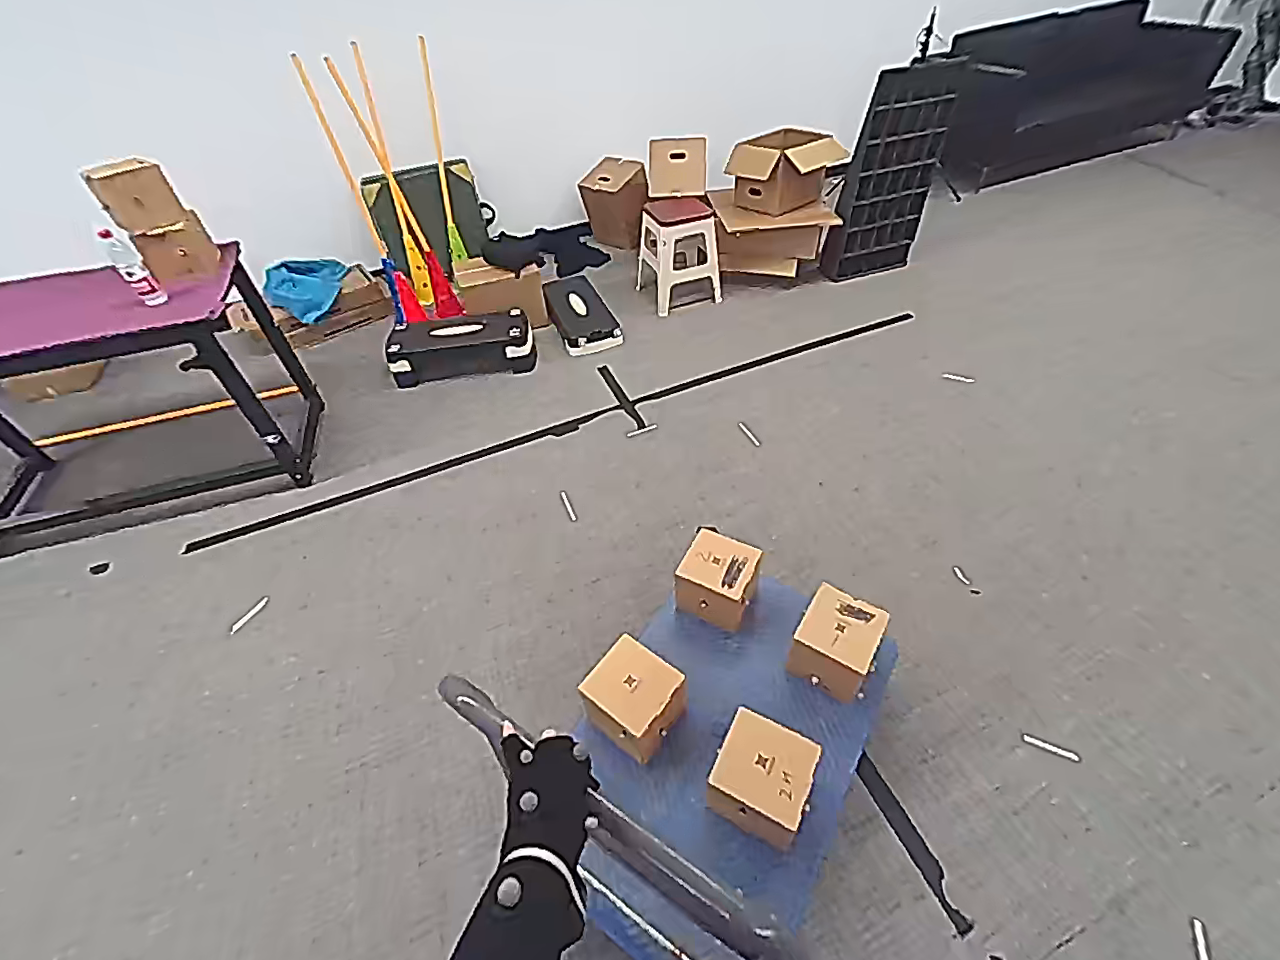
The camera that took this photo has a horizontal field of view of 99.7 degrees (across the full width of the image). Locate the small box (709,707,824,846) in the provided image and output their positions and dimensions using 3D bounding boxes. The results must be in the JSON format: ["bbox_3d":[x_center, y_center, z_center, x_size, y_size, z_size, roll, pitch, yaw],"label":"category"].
[{"bbox_3d":[0.250,0.602,1.094,0.179,0.176,0.168,21,51,23],"label":"small box"}]

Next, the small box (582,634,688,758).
[{"bbox_3d":[-0.008,0.492,1.224,0.179,0.176,0.168,29,54,27],"label":"small box"}]

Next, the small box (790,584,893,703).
[{"bbox_3d":[0.470,0.387,1.282,0.168,0.176,0.179,25,54,26],"label":"small box"}]
